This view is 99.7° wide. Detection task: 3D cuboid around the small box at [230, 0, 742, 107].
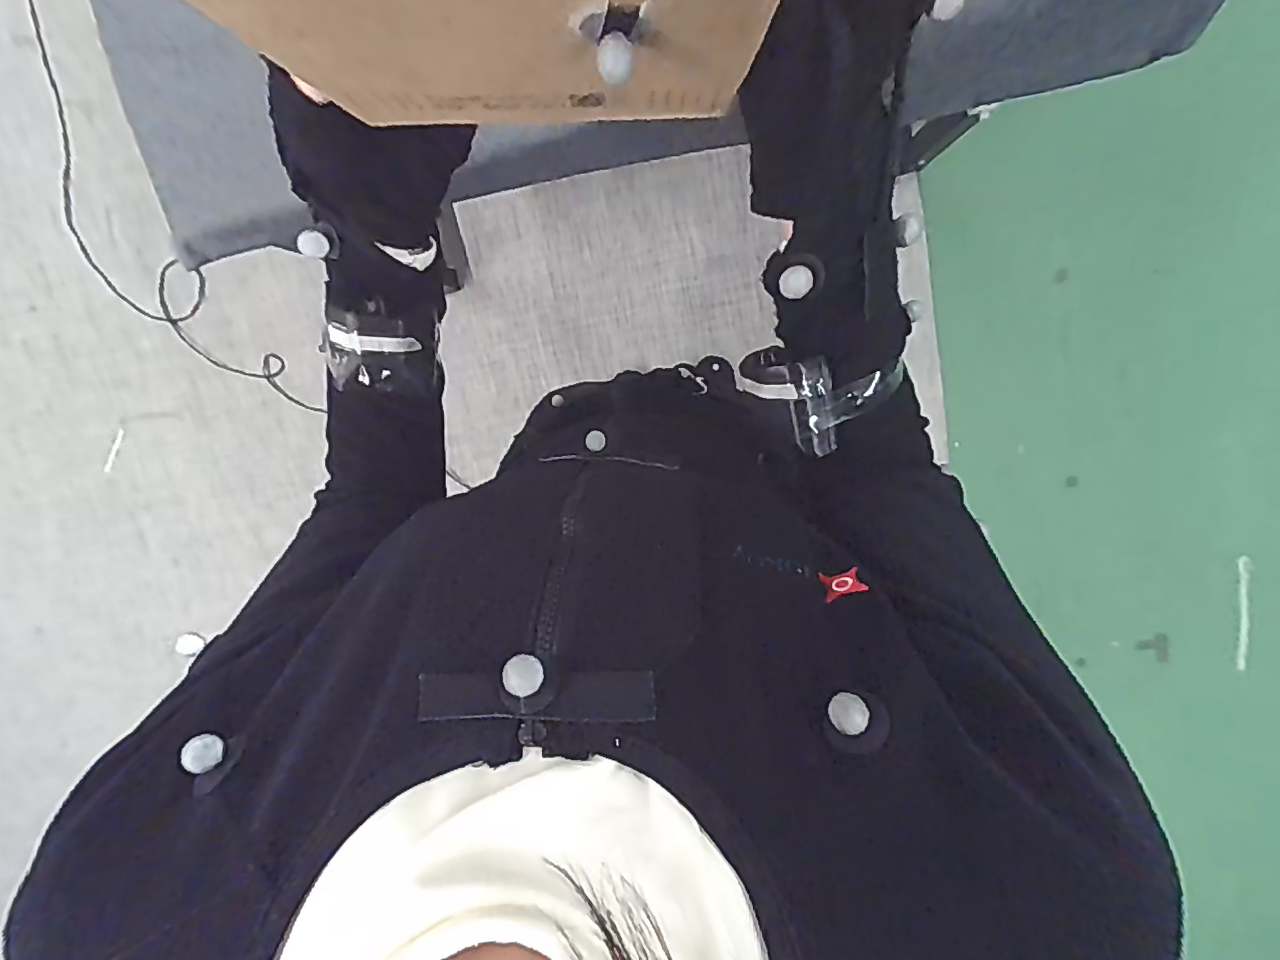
[{"bbox_3d":[-0.047,-0.227,0.148,0.168,0.176,0.179,-1,106,0],"label":"small box"}]
